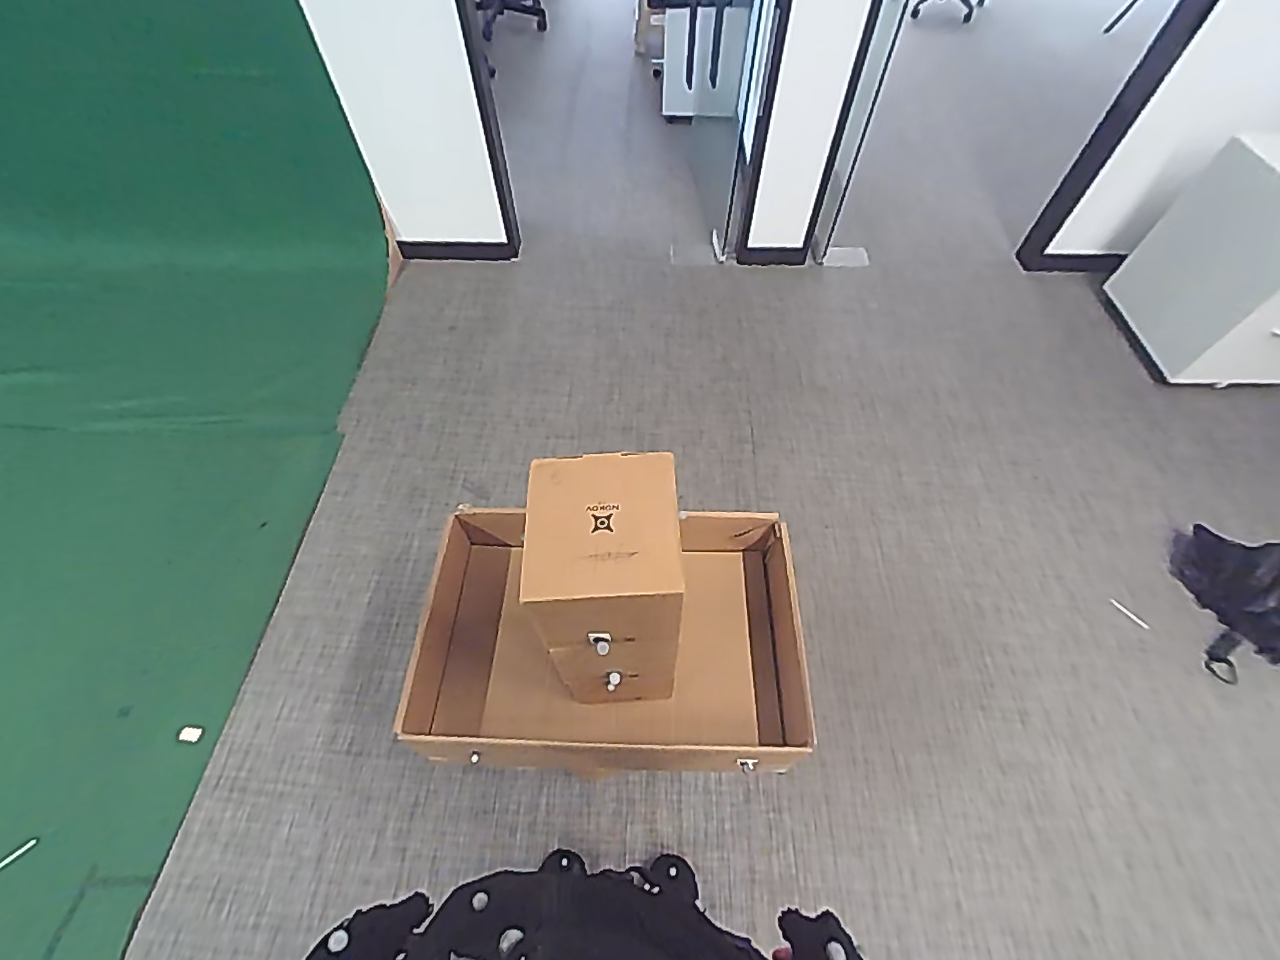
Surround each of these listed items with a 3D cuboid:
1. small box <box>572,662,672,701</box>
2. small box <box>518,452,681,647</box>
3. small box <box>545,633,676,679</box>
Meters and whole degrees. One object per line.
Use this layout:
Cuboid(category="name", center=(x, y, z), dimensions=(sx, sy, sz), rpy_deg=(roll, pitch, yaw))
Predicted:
Cuboid(category="small box", center=(-0.035, 0.264, 0.923), dimensions=(0.168, 0.176, 0.179), rpy_deg=(-4, 55, 0))
Cuboid(category="small box", center=(-0.042, 0.087, 0.650), dimensions=(0.168, 0.176, 0.179), rpy_deg=(-4, 57, 0))
Cuboid(category="small box", center=(-0.040, 0.177, 0.785), dimensions=(0.168, 0.176, 0.179), rpy_deg=(-3, 57, -1))
